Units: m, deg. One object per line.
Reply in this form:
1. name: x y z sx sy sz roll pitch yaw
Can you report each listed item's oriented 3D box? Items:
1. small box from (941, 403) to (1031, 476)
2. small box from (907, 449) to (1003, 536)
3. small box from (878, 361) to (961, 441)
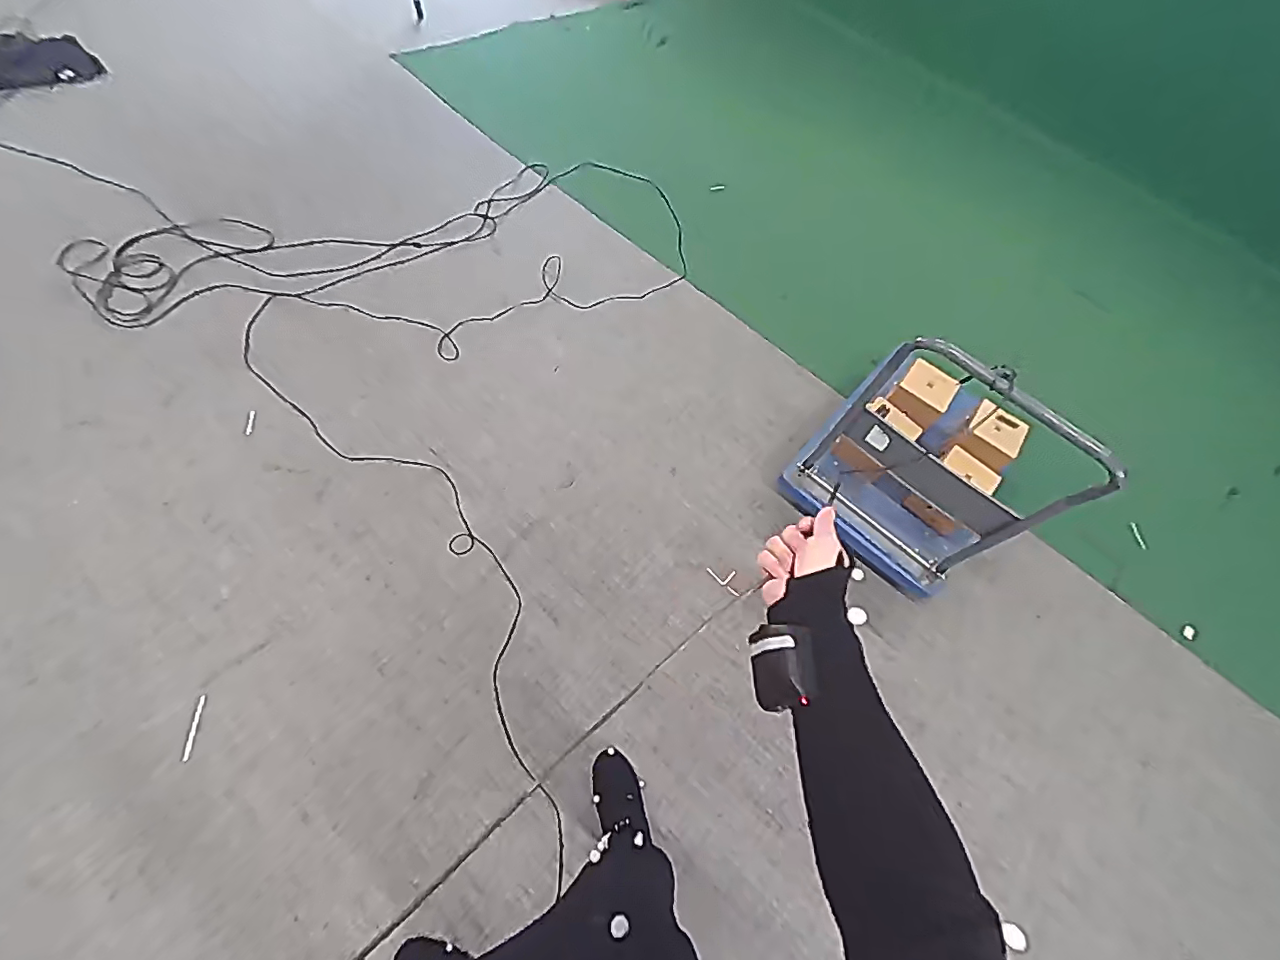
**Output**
1. small box: 1.150 -0.118 1.809 0.168 0.176 0.179 37 61 13
2. small box: 0.973 0.042 1.684 0.168 0.176 0.179 42 62 14
3. small box: 0.954 -0.266 1.861 0.168 0.176 0.179 38 61 11
